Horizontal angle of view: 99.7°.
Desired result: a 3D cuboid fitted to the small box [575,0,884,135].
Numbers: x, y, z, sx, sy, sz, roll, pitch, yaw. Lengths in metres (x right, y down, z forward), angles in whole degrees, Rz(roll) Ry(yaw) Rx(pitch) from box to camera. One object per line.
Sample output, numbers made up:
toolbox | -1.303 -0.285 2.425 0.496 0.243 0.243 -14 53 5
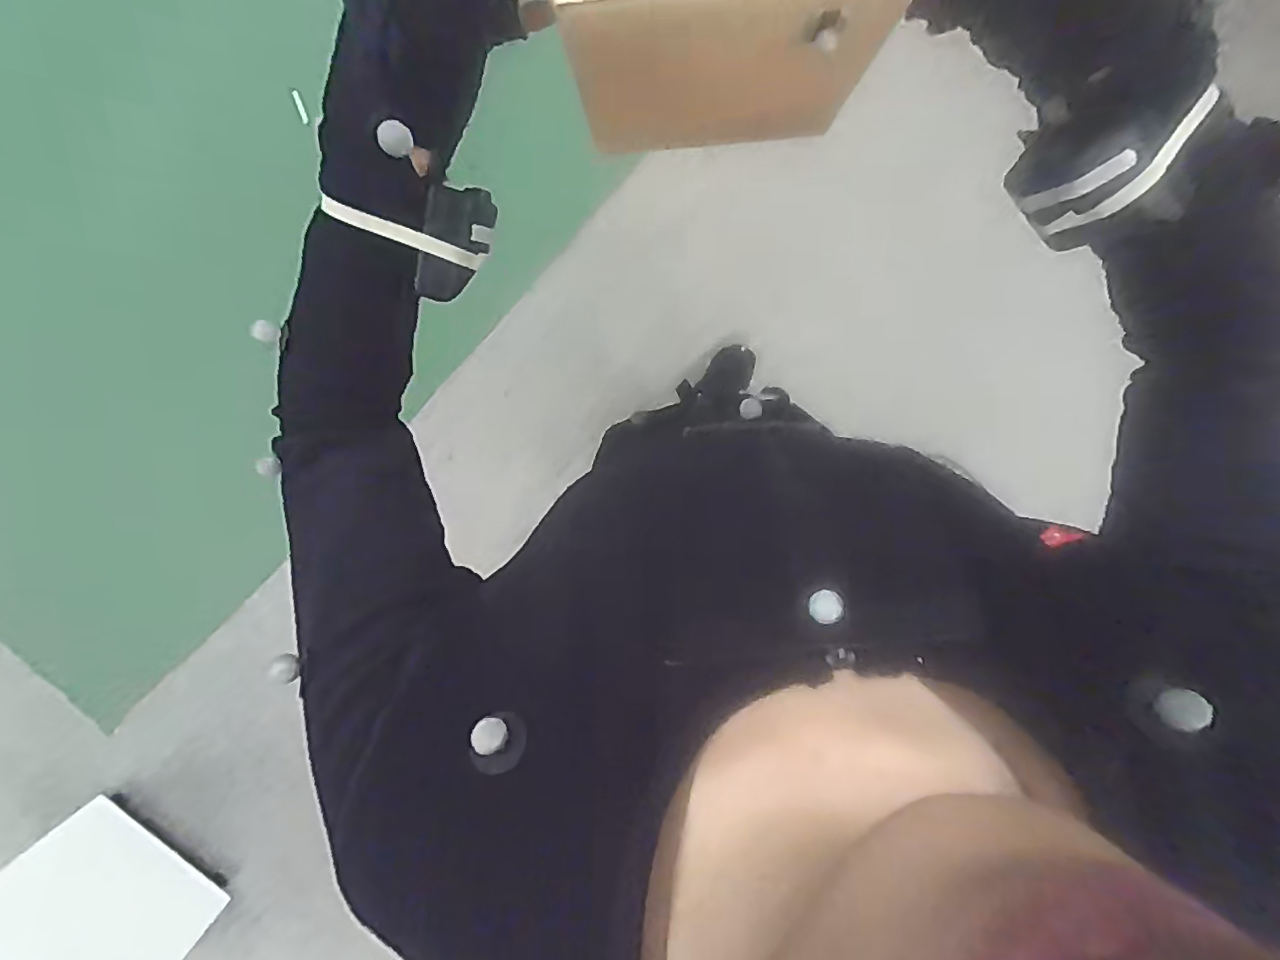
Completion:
small box | 0.047 -0.329 0.317 0.179 0.176 0.168 -4 101 2
